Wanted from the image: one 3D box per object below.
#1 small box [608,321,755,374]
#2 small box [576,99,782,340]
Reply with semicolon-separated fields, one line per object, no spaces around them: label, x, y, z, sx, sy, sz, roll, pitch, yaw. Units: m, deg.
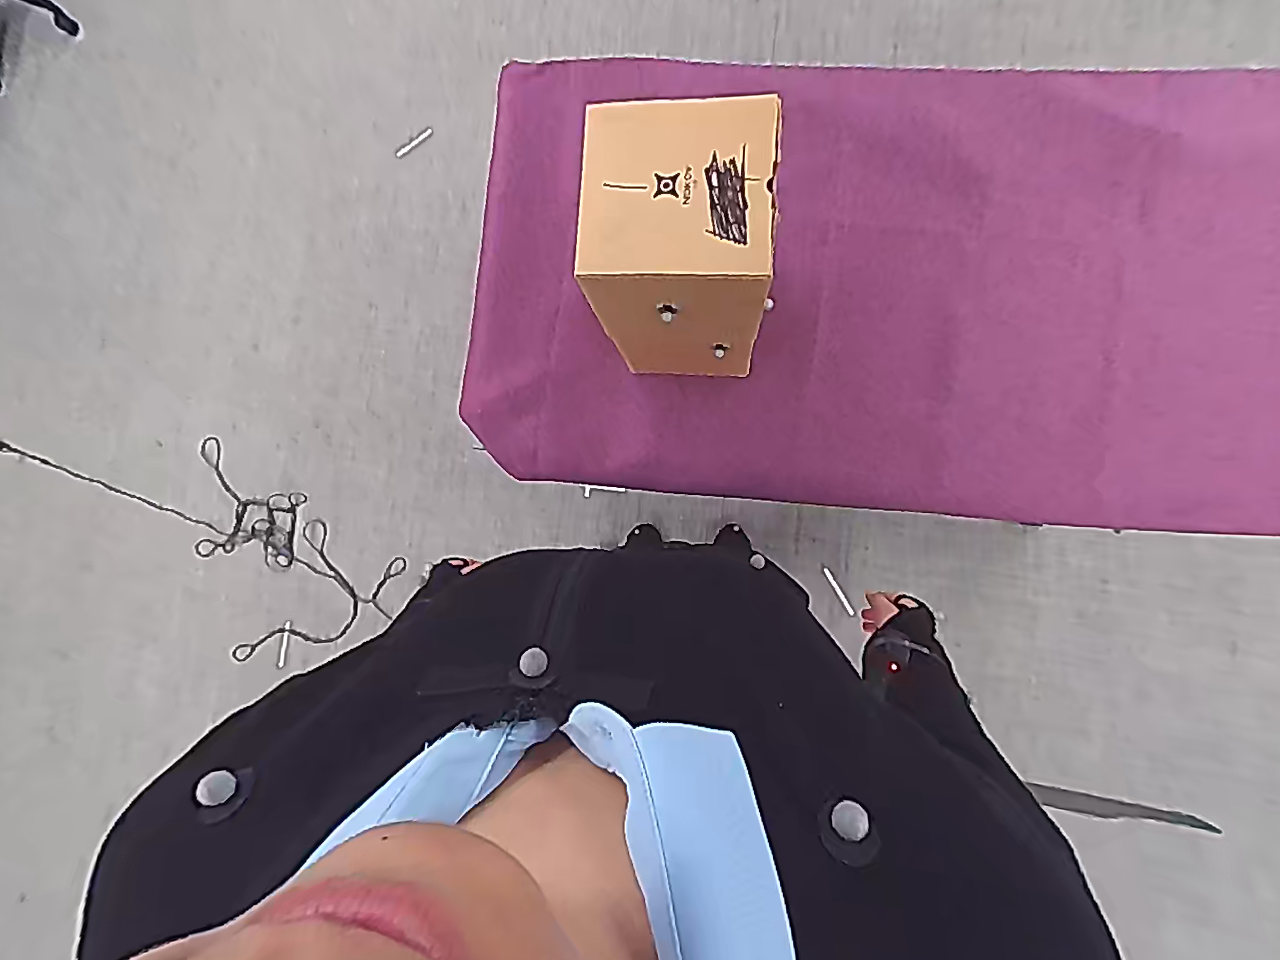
small box;0.064;-0.244;0.722;0.179;0.176;0.168;3;86;7
small box;0.043;-0.253;0.559;0.179;0.176;0.168;3;85;8
